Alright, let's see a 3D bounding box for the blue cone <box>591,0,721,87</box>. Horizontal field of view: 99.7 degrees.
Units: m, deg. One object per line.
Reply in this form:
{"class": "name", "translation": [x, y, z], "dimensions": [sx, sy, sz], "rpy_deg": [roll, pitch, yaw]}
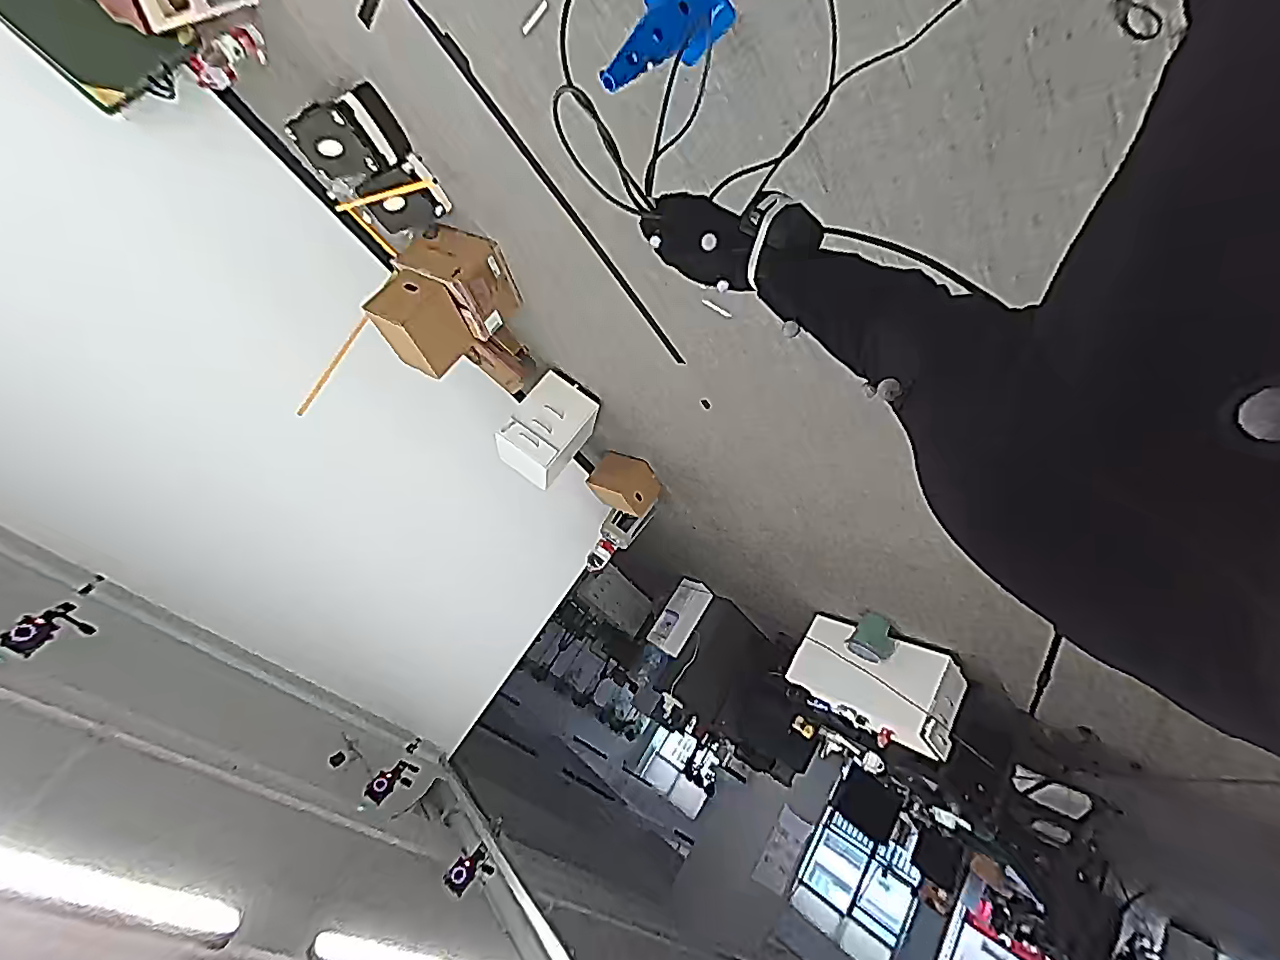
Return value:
{"class": "blue cone", "translation": [0.011, -1.052, 1.295], "dimensions": [0.192, 0.380, 0.193], "rpy_deg": [46, 159, -26]}
